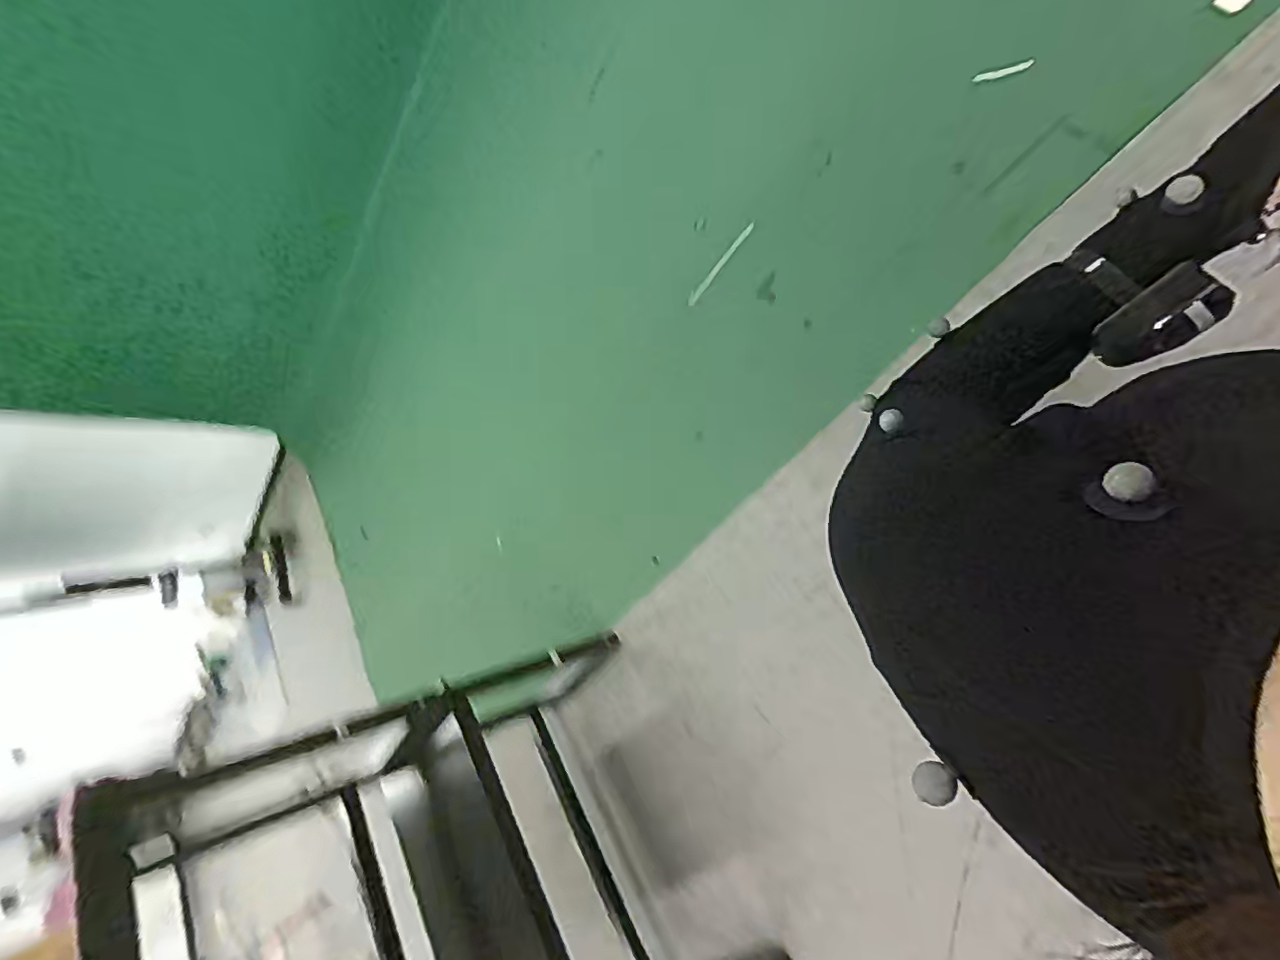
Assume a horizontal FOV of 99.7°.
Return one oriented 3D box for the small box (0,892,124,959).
[{"bbox_3d":[-1.031,0.875,0.951,0.179,0.176,0.168,-47,63,30],"label":"small box"}]
